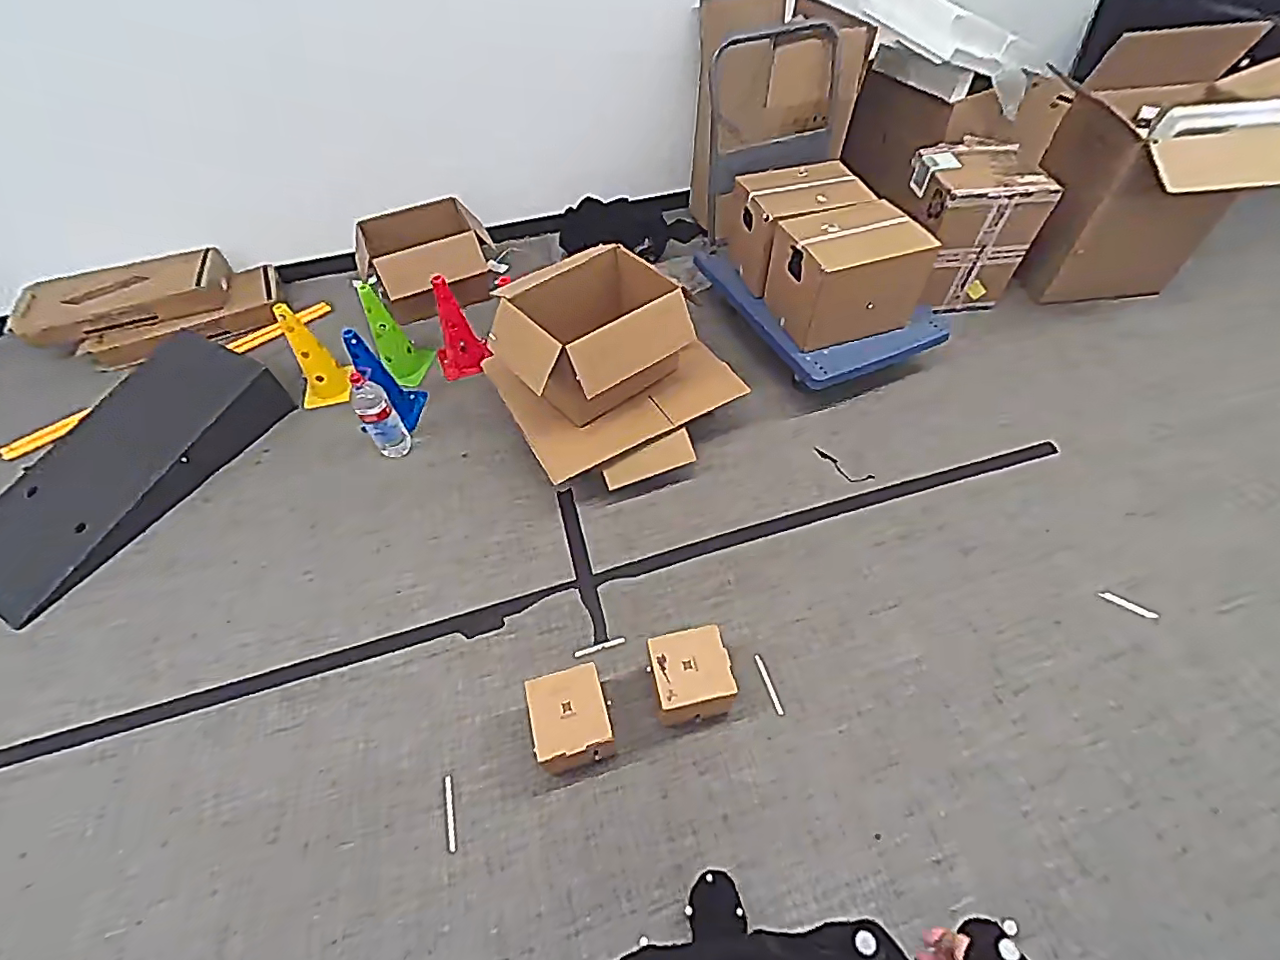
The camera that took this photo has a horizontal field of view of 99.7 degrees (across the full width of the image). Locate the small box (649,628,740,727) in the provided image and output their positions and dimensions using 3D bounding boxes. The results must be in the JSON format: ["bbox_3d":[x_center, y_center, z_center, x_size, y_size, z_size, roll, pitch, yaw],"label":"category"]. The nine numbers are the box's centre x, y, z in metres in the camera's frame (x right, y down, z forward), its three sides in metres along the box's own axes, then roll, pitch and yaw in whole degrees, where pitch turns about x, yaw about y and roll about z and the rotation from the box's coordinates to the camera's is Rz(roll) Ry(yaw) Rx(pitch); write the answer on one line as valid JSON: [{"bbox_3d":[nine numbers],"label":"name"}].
[{"bbox_3d":[0.122,0.476,1.295,0.179,0.176,0.168,-10,54,-7],"label":"small box"}]

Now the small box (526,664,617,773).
[{"bbox_3d":[-0.154,0.555,1.245,0.168,0.176,0.179,-14,53,-10],"label":"small box"}]
